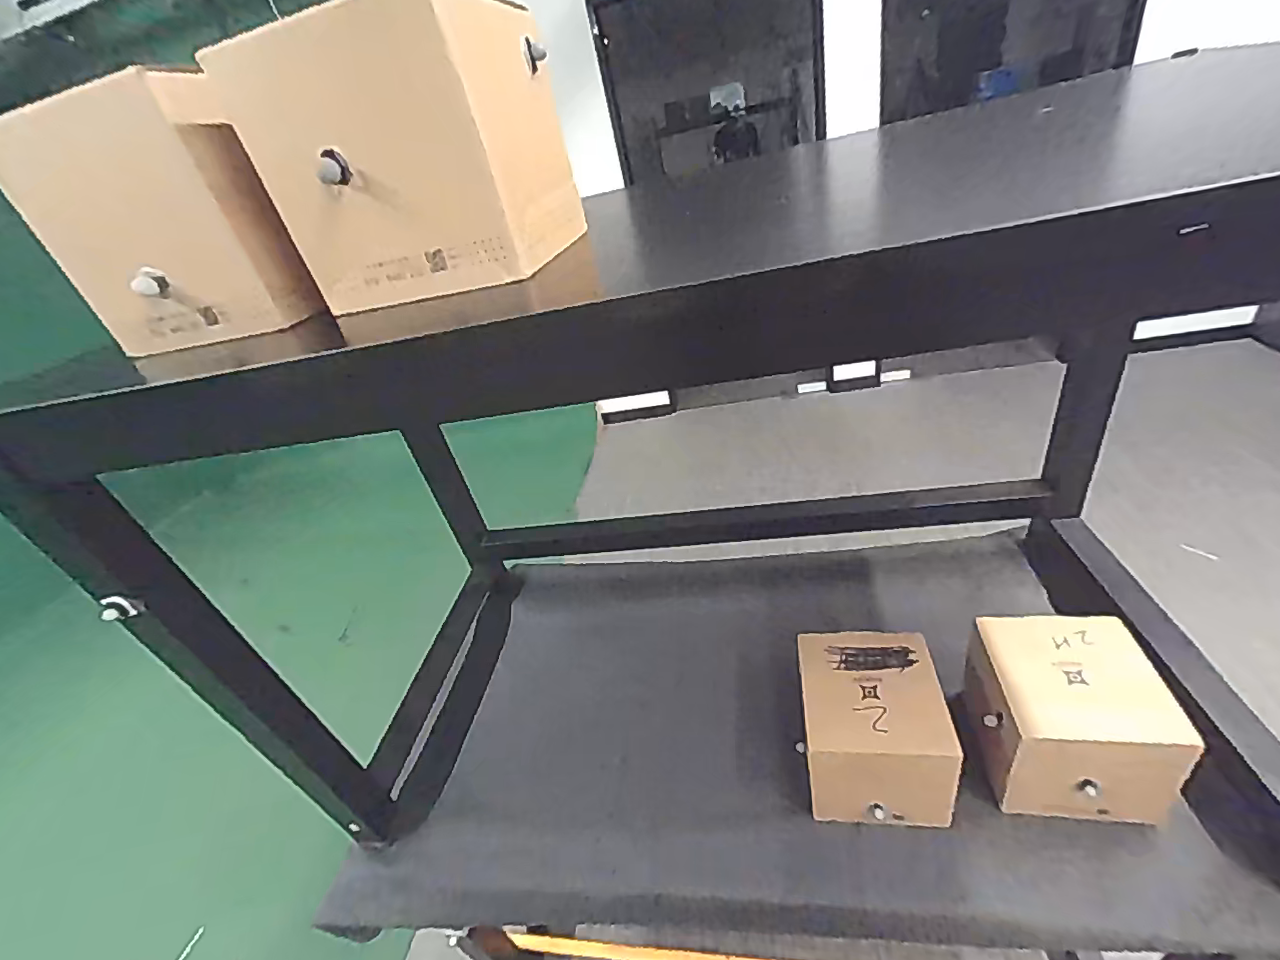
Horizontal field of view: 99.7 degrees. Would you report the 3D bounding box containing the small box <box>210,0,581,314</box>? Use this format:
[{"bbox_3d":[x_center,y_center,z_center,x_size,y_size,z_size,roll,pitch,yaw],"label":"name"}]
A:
[{"bbox_3d":[-0.159,-0.240,0.424,0.168,0.176,0.179,-5,33,15],"label":"small box"}]

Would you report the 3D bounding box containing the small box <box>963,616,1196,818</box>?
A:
[{"bbox_3d":[0.530,0.296,0.685,0.168,0.176,0.179,-4,33,16],"label":"small box"}]

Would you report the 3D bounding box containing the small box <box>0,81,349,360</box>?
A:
[{"bbox_3d":[-0.350,-0.219,0.464,0.168,0.176,0.179,-5,34,14],"label":"small box"}]
